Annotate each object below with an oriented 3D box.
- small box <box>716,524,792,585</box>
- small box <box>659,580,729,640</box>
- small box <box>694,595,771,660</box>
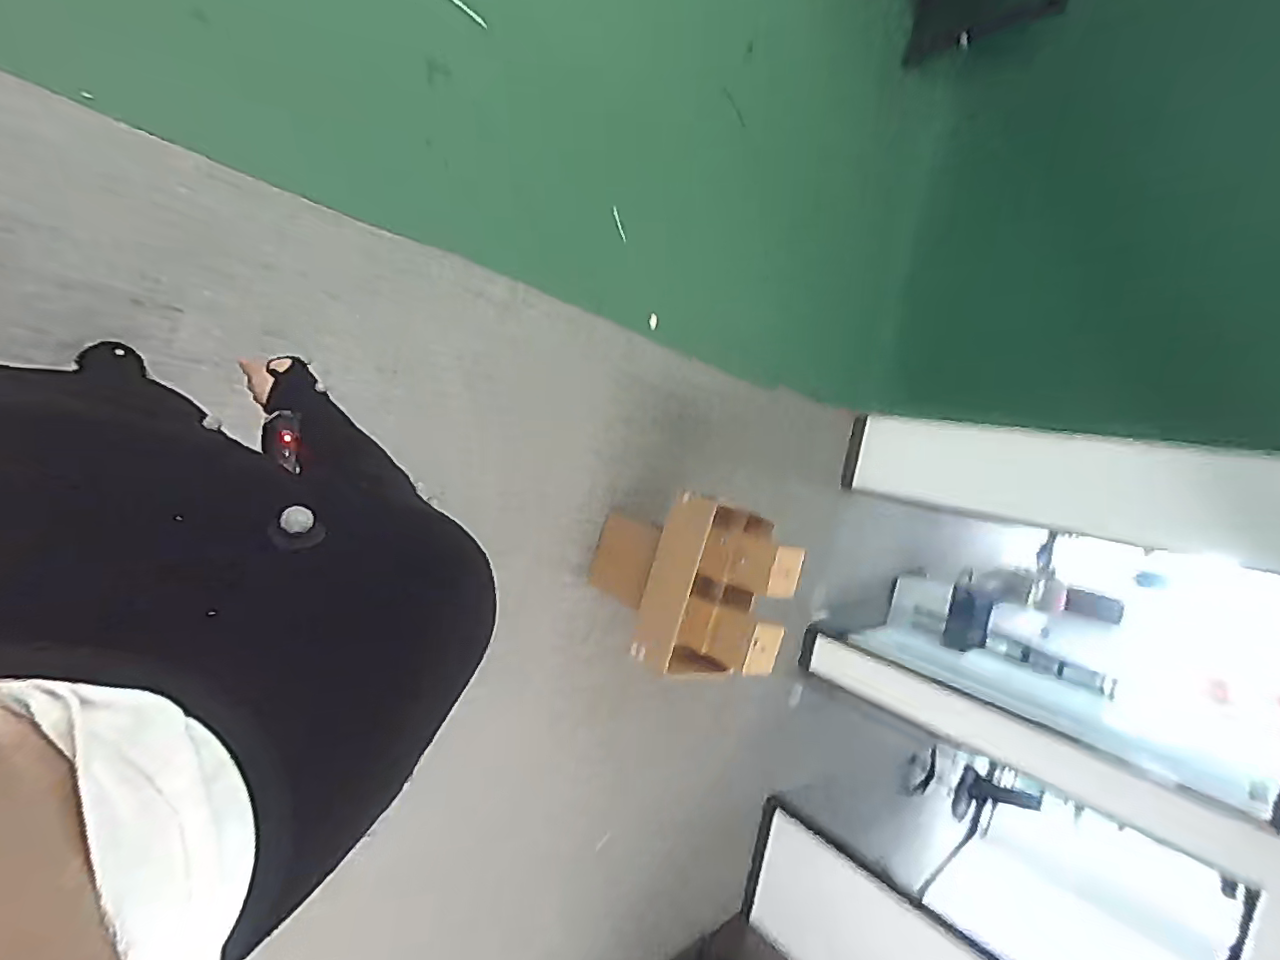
[{"bbox_3d":[0.392,0.256,1.863,0.179,0.176,0.168,13,92,-45],"label":"small box"},{"bbox_3d":[0.203,0.475,1.981,0.179,0.176,0.168,17,90,-43],"label":"small box"},{"bbox_3d":[0.319,0.509,1.870,0.179,0.176,0.168,20,88,-44],"label":"small box"}]
